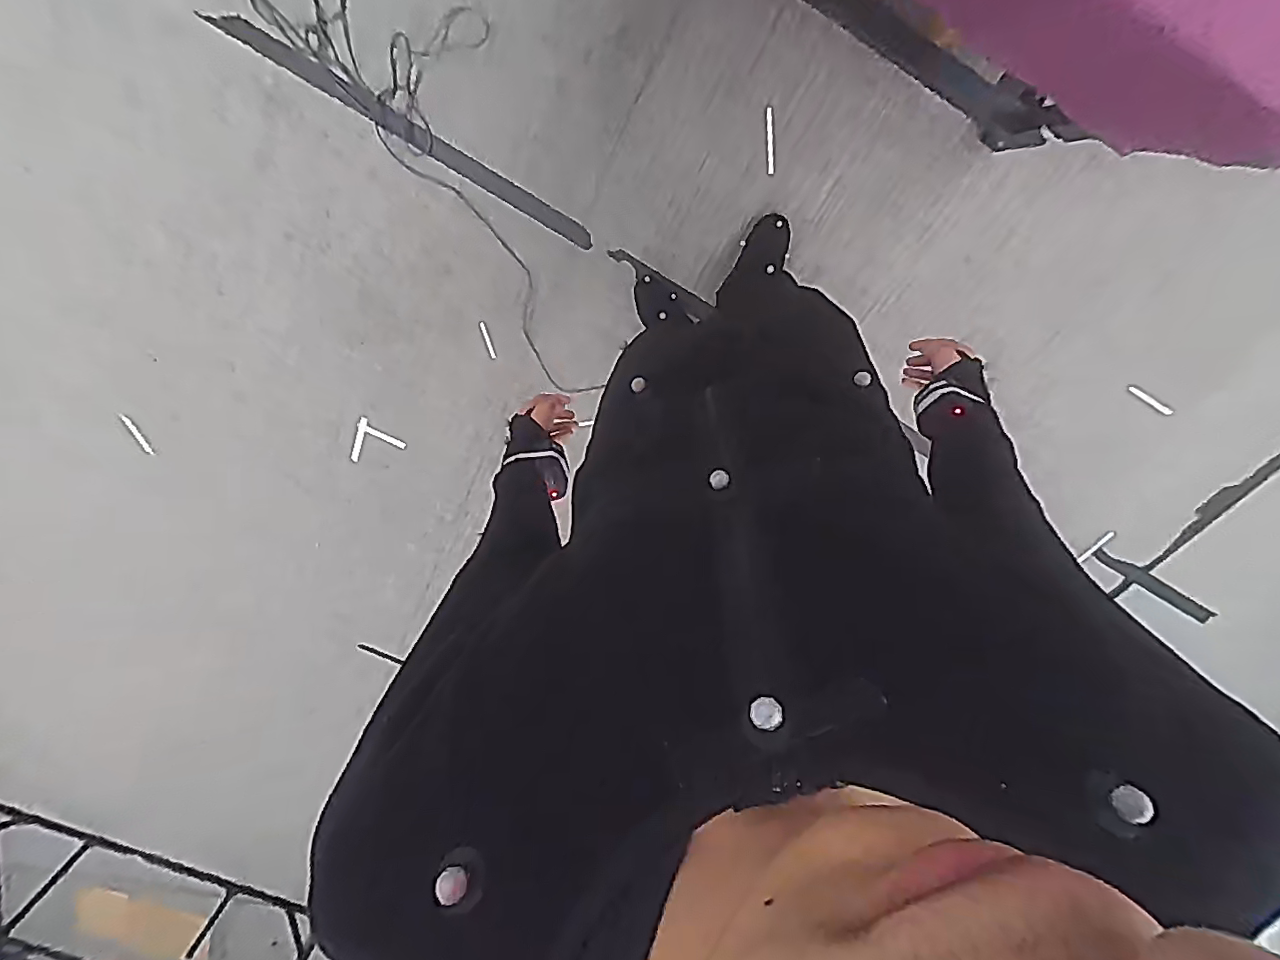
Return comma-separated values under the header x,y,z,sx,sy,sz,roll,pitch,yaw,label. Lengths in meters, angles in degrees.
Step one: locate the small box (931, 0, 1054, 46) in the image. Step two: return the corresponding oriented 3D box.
x,y,z,sx,sy,sz,roll,pitch,yaw,label
0.702,-0.988,1.064,0.168,0.176,0.179,2,118,6,small box
